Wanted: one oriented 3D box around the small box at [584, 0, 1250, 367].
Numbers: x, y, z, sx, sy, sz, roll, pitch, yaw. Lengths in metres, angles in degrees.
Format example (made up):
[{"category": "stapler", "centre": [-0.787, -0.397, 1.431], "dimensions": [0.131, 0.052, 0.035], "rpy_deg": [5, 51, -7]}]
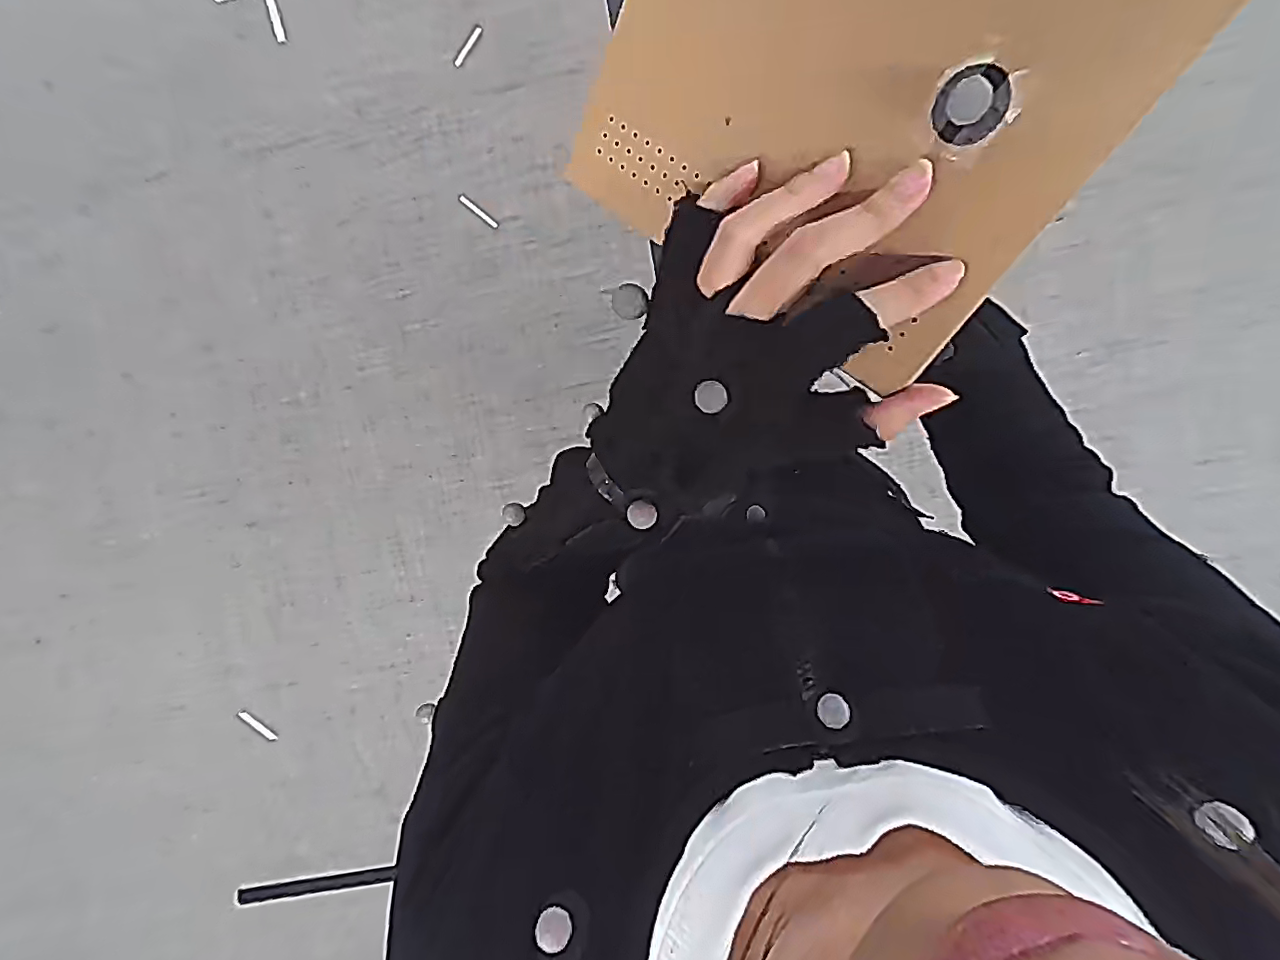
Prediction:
[{"category": "small box", "centre": [0.106, -0.169, 0.254], "dimensions": [0.179, 0.168, 0.176], "rpy_deg": [38, 125, 9]}]
